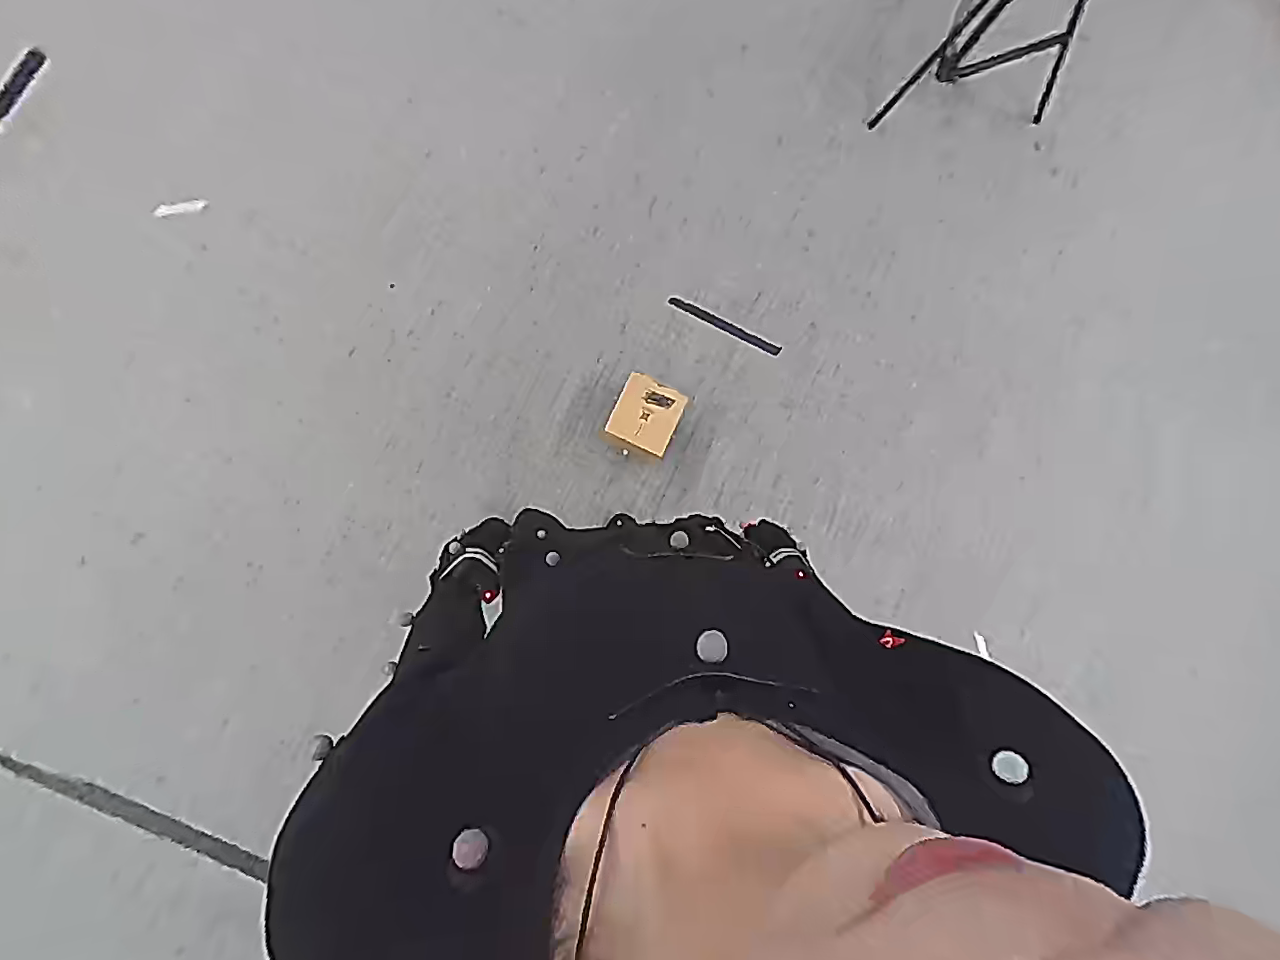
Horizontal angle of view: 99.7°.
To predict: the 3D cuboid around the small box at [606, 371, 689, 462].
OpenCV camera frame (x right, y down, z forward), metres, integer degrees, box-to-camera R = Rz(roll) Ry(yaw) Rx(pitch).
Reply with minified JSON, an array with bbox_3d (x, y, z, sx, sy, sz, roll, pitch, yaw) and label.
[{"bbox_3d":[0.013,-0.165,1.468,0.168,0.176,0.179,26,84,-3],"label":"small box"}]
